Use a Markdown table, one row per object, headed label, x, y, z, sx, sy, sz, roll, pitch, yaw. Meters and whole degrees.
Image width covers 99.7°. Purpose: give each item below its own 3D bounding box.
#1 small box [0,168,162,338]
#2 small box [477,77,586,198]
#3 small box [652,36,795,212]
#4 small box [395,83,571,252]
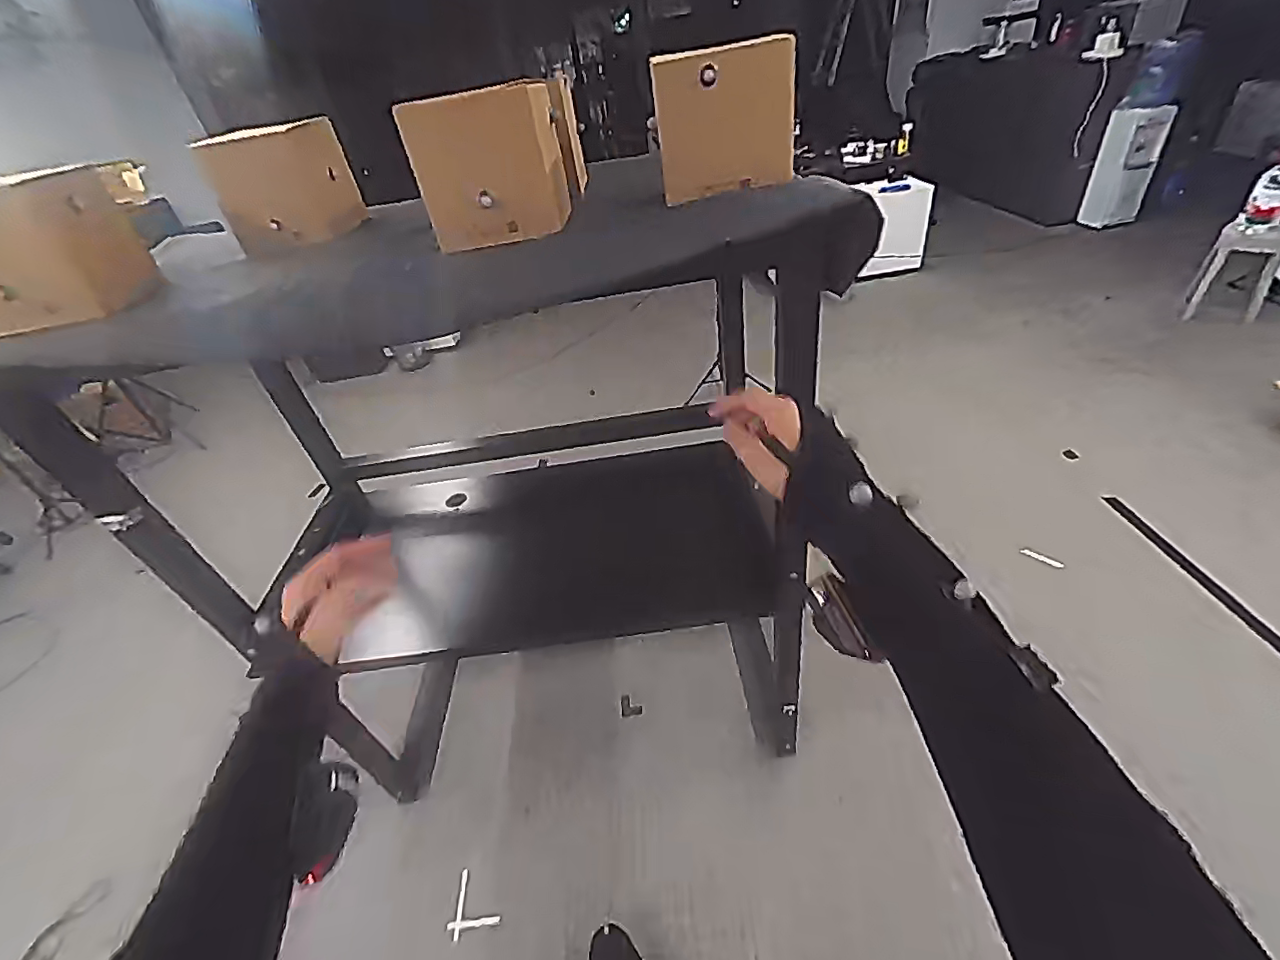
| label | x | y | z | sx | sy | sz | roll | pitch | yaw |
| --- | --- | --- | --- | --- | --- | --- | --- | --- | --- |
| small box | -0.833 | -0.318 | 0.755 | 0.168 | 0.176 | 0.179 | -14 | 39 | -5 |
| small box | -0.195 | -0.578 | 0.937 | 0.179 | 0.176 | 0.168 | -7 | 37 | 4 |
| small box | 0.108 | -0.476 | 0.732 | 0.168 | 0.176 | 0.179 | -7 | 37 | 6 |
| small box | -0.196 | -0.425 | 0.739 | 0.168 | 0.176 | 0.179 | -8 | 36 | 5 |
